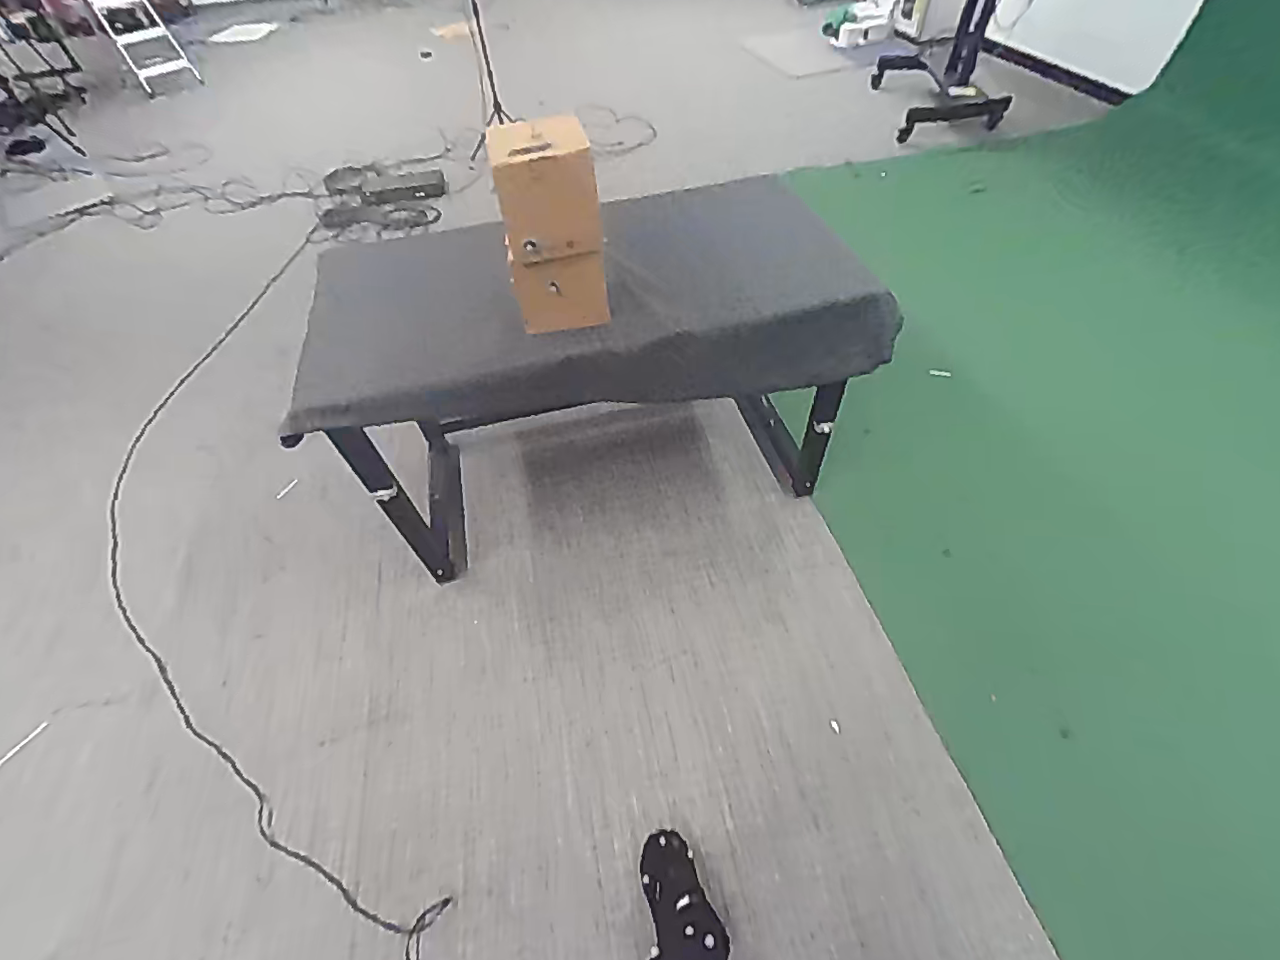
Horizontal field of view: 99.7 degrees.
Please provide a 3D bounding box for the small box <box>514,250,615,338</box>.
[{"bbox_3d":[-0.155,-0.413,1.118,0.179,0.176,0.168,-10,49,-5],"label":"small box"}]

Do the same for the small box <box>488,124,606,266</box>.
[{"bbox_3d":[-0.164,-0.507,0.979,0.168,0.176,0.179,-15,53,-7],"label":"small box"}]
